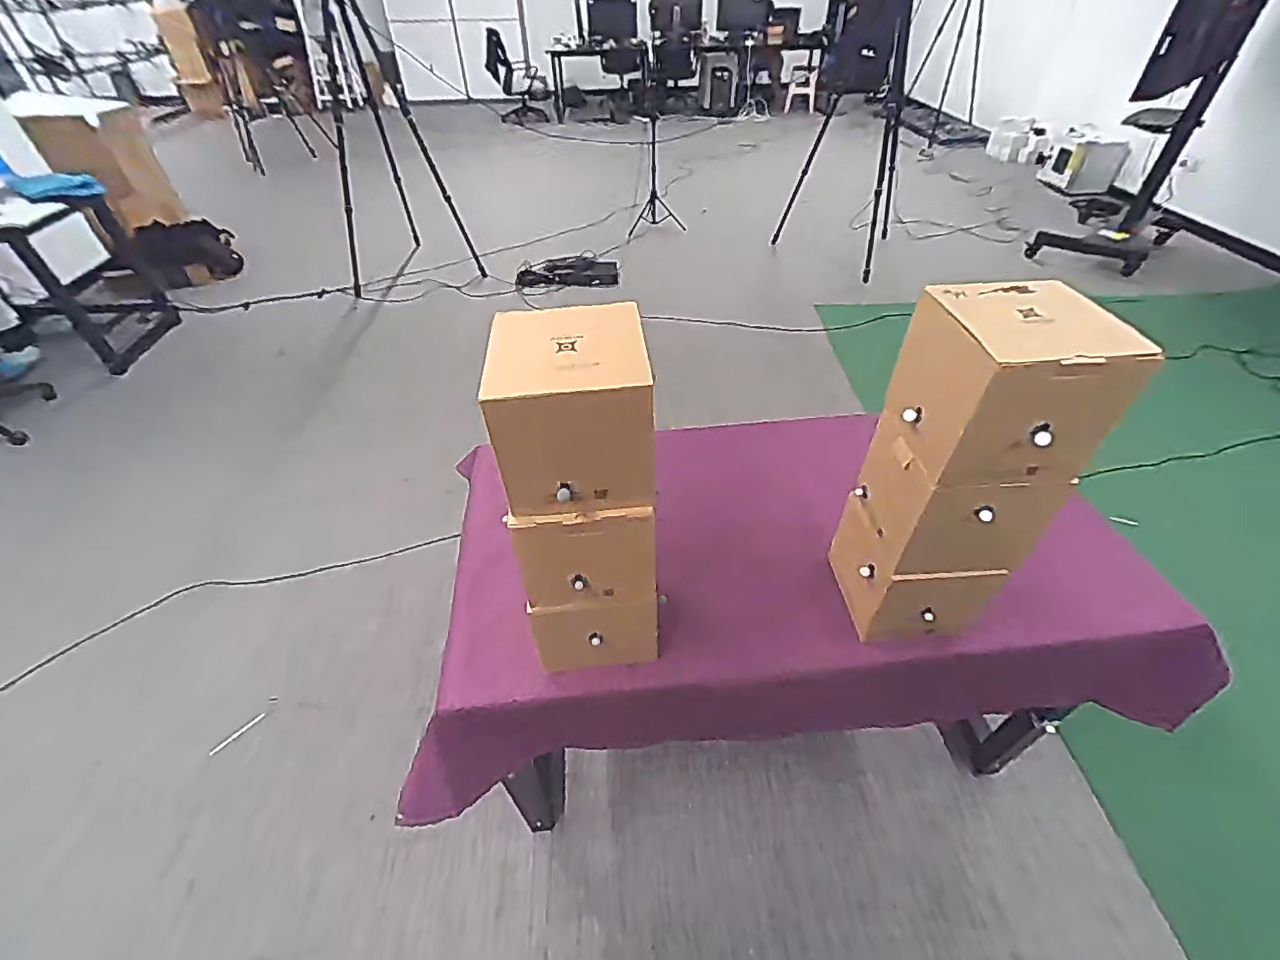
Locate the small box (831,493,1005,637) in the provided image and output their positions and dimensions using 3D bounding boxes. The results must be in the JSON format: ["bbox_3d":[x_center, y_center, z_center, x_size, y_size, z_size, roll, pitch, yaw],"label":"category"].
[{"bbox_3d":[0.422,0.136,0.857,0.168,0.176,0.179,-2,44,-2],"label":"small box"}]

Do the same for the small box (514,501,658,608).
[{"bbox_3d":[-0.068,0.048,0.724,0.168,0.176,0.179,-5,44,-4],"label":"small box"}]

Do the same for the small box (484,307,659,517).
[{"bbox_3d":[-0.070,-0.078,0.620,0.168,0.176,0.179,-5,45,-3],"label":"small box"}]

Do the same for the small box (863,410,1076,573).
[{"bbox_3d":[0.427,0.015,0.745,0.179,0.176,0.168,-2,44,-2],"label":"small box"}]

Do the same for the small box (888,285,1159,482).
[{"bbox_3d":[0.422,-0.109,0.637,0.168,0.176,0.179,-2,45,-1],"label":"small box"}]
